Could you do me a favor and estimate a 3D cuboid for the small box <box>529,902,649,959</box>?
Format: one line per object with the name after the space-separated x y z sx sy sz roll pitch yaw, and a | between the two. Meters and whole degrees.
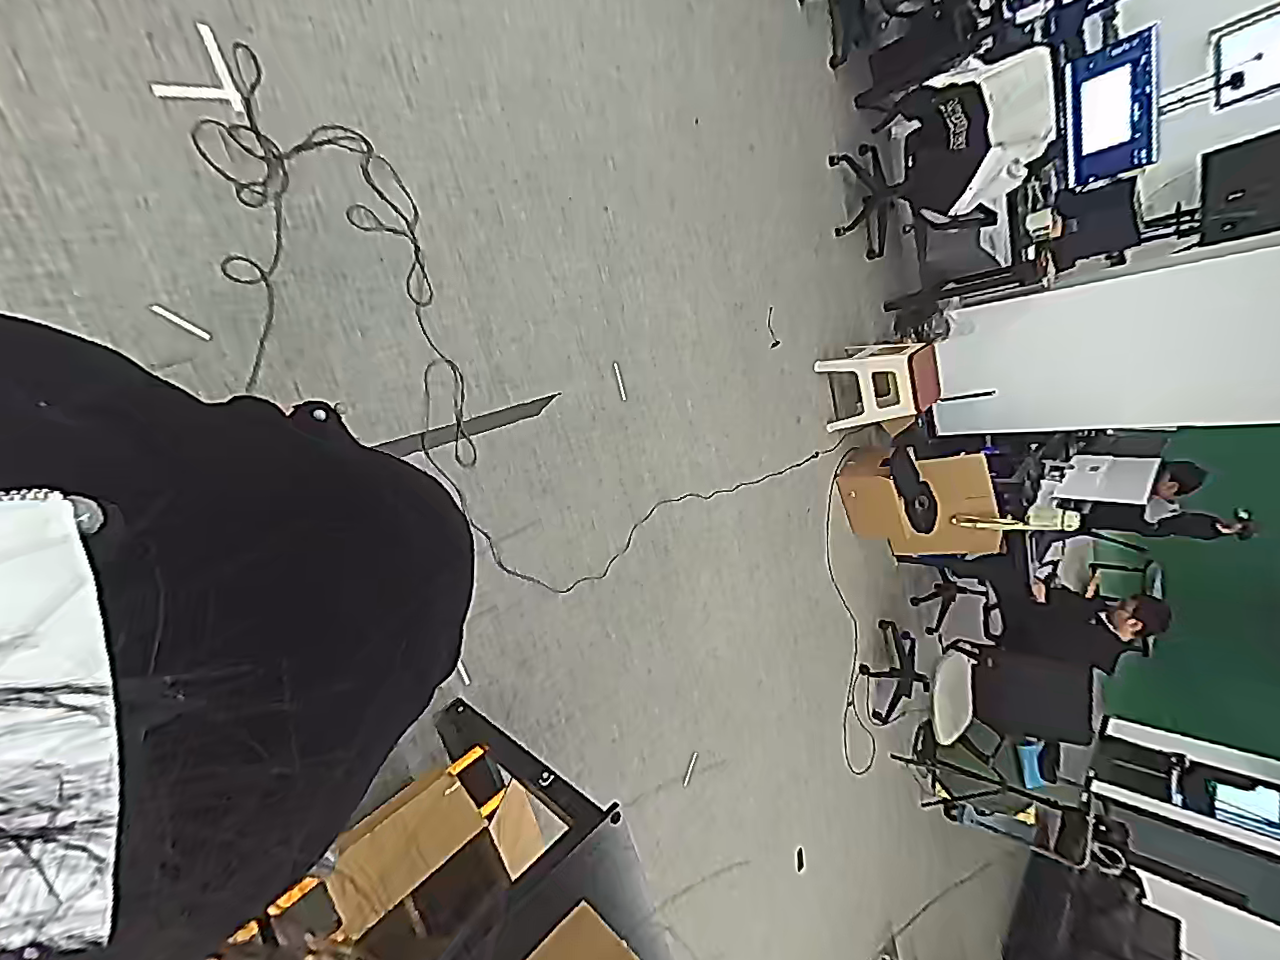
-0.082 0.870 0.900 0.179 0.176 0.168 -26 107 -37 | small box
